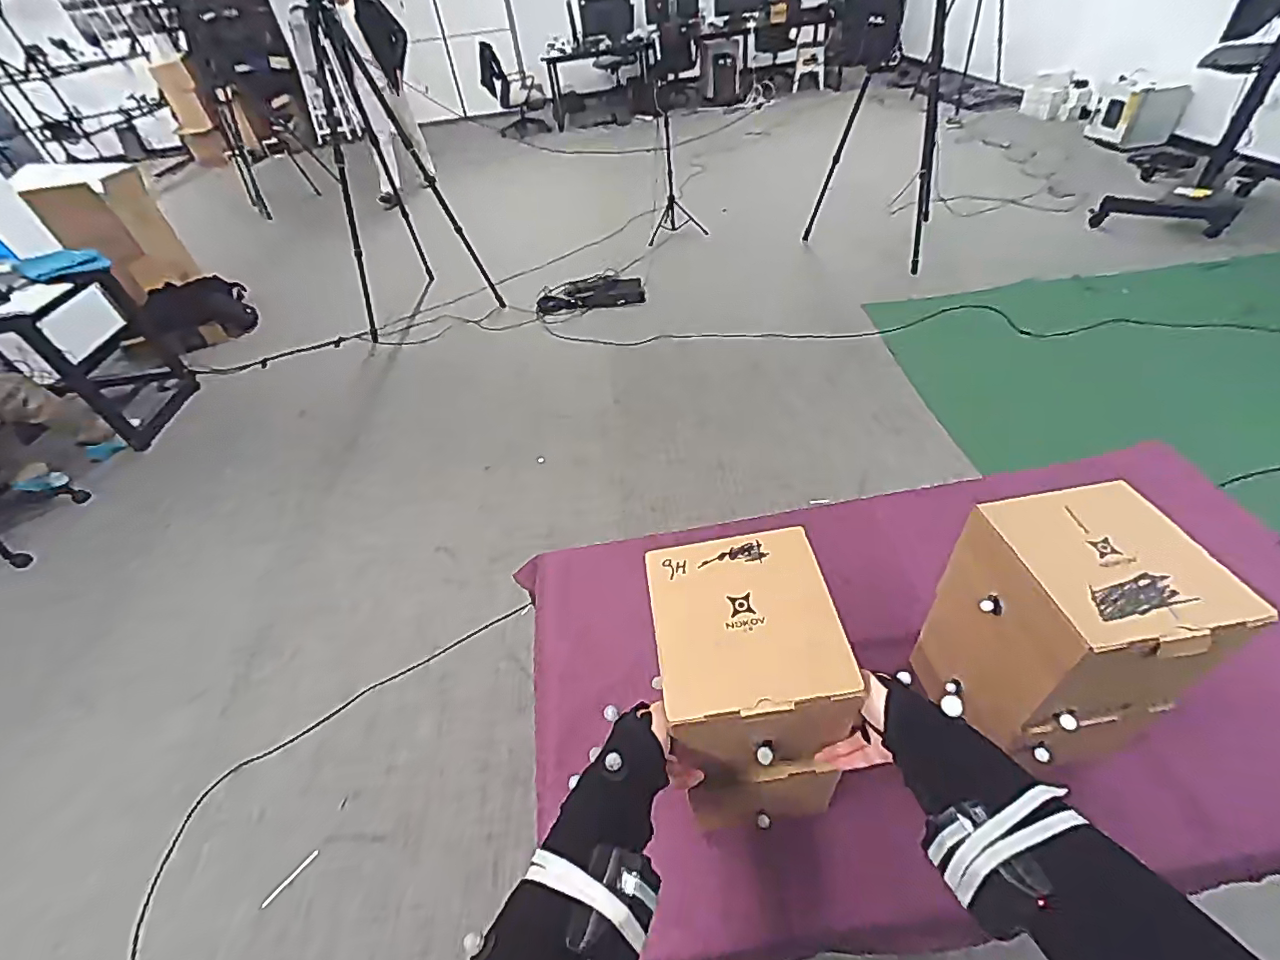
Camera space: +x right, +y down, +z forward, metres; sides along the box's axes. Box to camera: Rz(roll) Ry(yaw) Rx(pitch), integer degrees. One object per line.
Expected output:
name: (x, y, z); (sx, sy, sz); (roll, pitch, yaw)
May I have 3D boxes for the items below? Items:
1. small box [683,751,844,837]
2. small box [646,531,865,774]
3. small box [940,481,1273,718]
small box: (0.133, 0.313, 0.673); (0.168, 0.176, 0.179); (-9, 43, 1)
small box: (0.108, 0.182, 0.553); (0.168, 0.176, 0.179); (-11, 47, 2)
small box: (0.455, 0.130, 0.570); (0.168, 0.176, 0.179); (-10, 42, -1)
